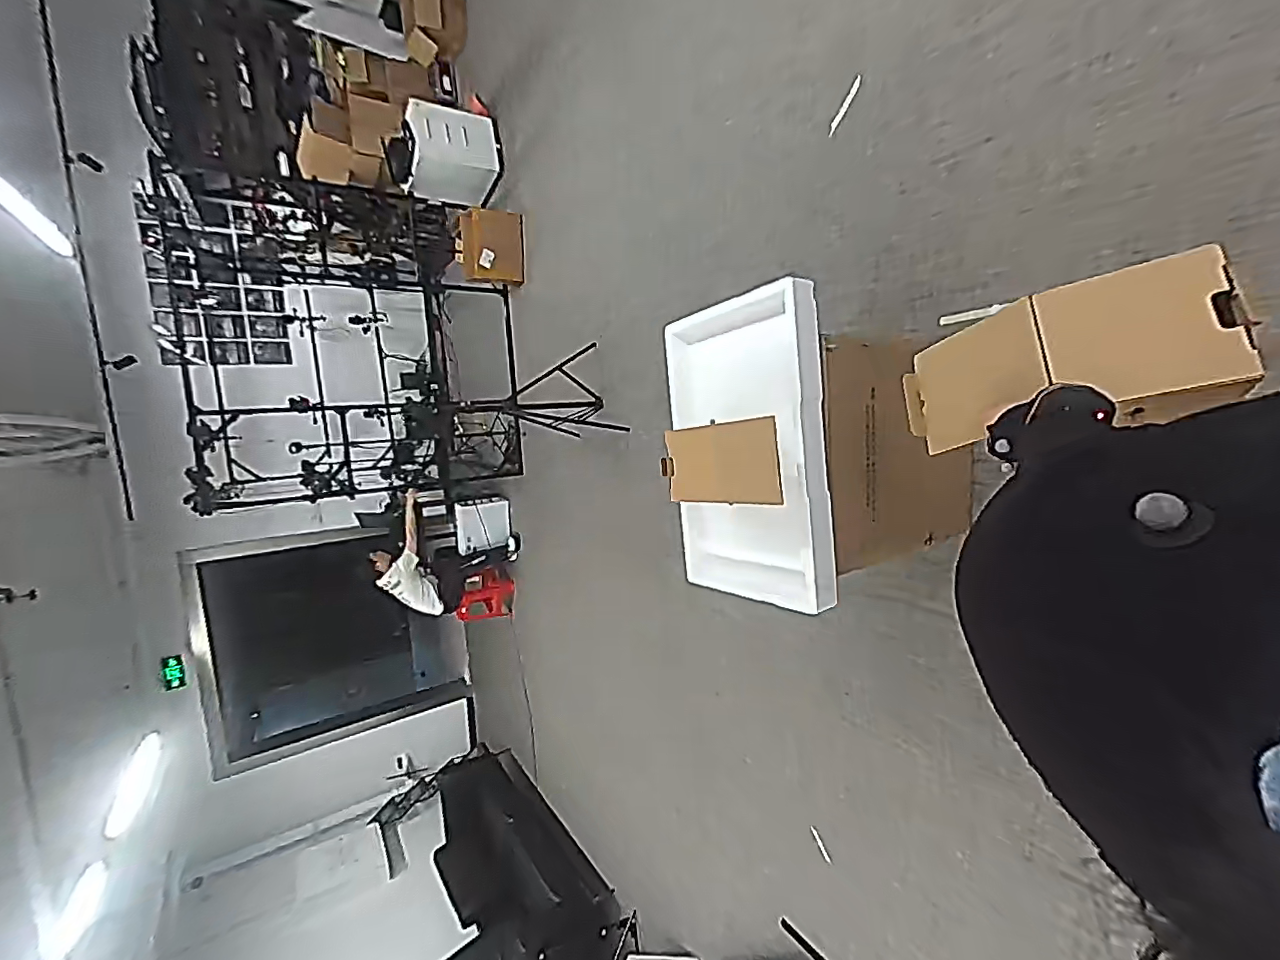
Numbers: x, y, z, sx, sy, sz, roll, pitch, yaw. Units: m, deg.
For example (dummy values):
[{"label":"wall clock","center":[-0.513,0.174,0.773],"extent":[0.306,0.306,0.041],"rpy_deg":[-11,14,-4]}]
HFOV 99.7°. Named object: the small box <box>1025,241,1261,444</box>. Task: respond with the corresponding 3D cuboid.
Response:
[{"label":"small box","center":[0.603,-0.153,0.677],"extent":[0.179,0.176,0.168],"rpy_deg":[-11,72,32]}]
